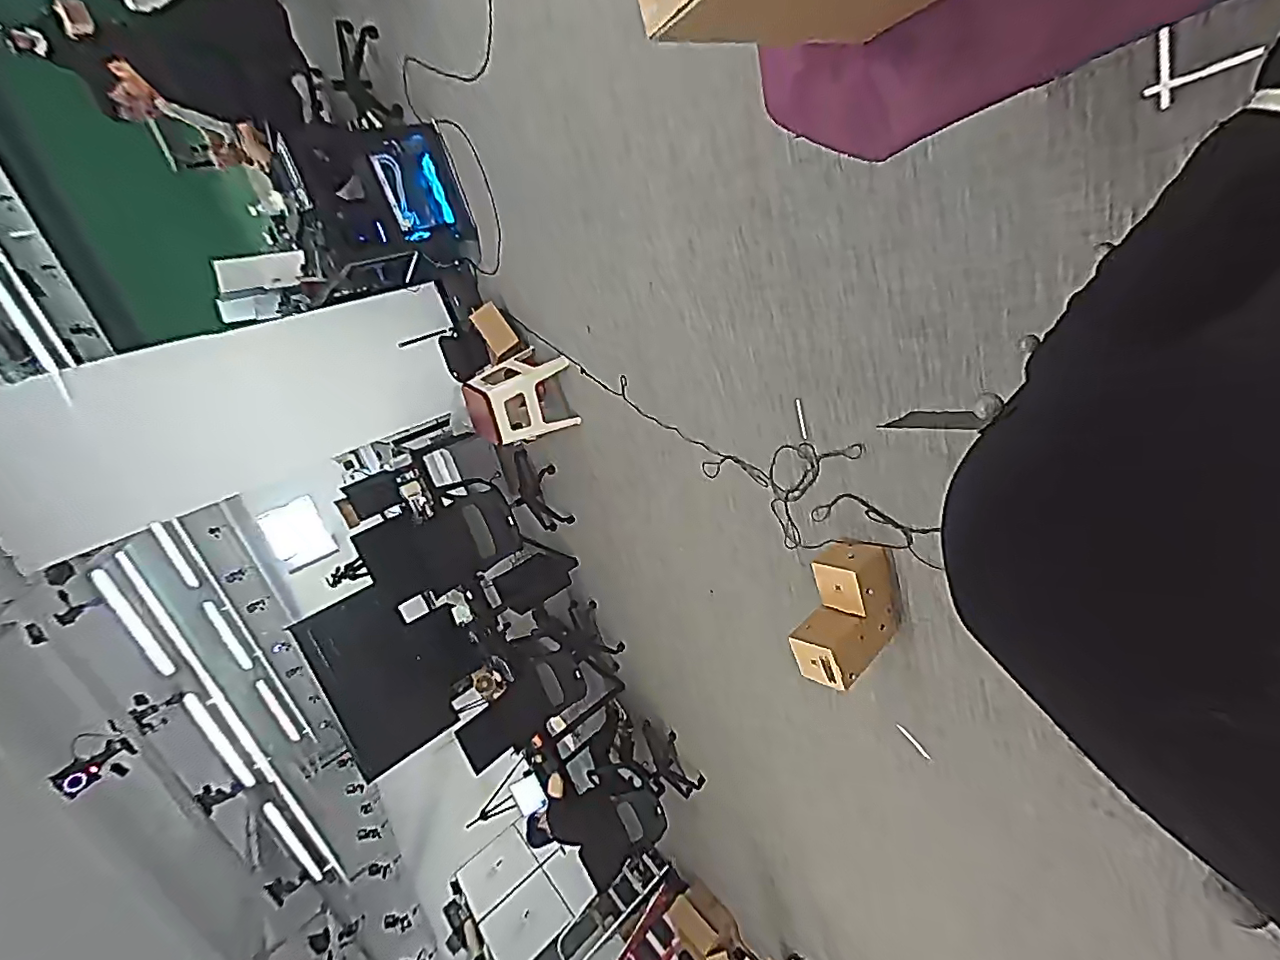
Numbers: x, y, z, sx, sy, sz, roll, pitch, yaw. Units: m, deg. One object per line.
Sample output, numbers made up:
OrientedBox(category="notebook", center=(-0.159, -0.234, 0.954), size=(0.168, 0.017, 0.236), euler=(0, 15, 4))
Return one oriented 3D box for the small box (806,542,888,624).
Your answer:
OrientedBox(category="small box", center=(0.668, 0.334, 1.752), size=(0.179, 0.176, 0.168), euler=(28, 124, 29))
